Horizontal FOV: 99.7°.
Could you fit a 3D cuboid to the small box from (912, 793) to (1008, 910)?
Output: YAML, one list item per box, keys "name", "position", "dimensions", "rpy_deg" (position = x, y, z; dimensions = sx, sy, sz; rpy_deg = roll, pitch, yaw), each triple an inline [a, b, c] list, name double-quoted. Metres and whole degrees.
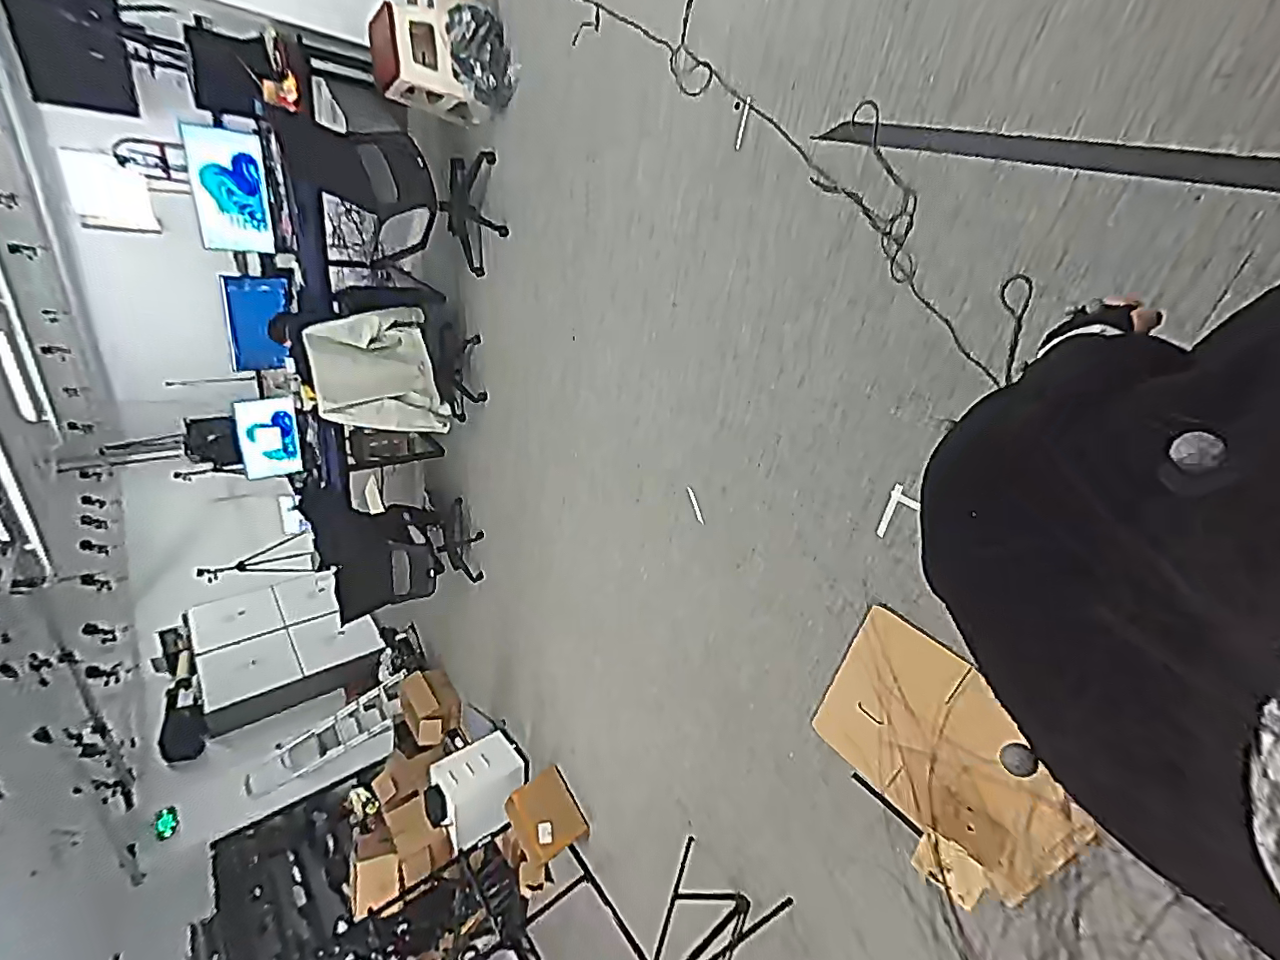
- name: "small box"
  position: [0.903, 1.032, 1.520]
  dimensions: [0.168, 0.176, 0.179]
  rpy_deg: [29, 122, 42]
